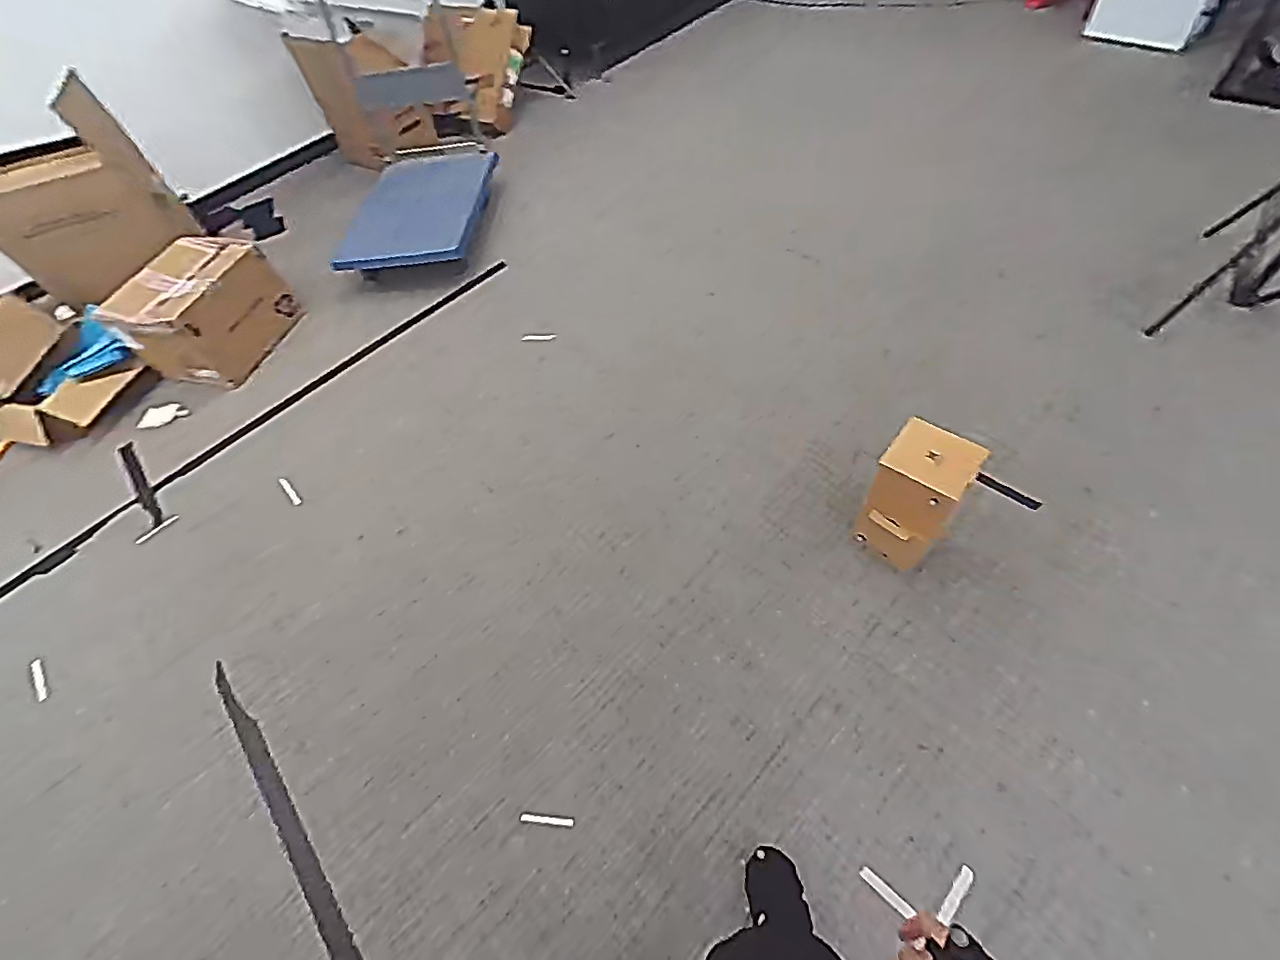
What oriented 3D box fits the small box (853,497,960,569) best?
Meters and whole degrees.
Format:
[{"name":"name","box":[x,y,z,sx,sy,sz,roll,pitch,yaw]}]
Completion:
[{"name":"small box","box":[0.667,0.096,1.376,0.179,0.176,0.168,-40,59,-18]}]

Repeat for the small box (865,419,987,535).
[{"name":"small box","box":[0.649,-0.003,1.248,0.179,0.176,0.168,32,66,26]}]
